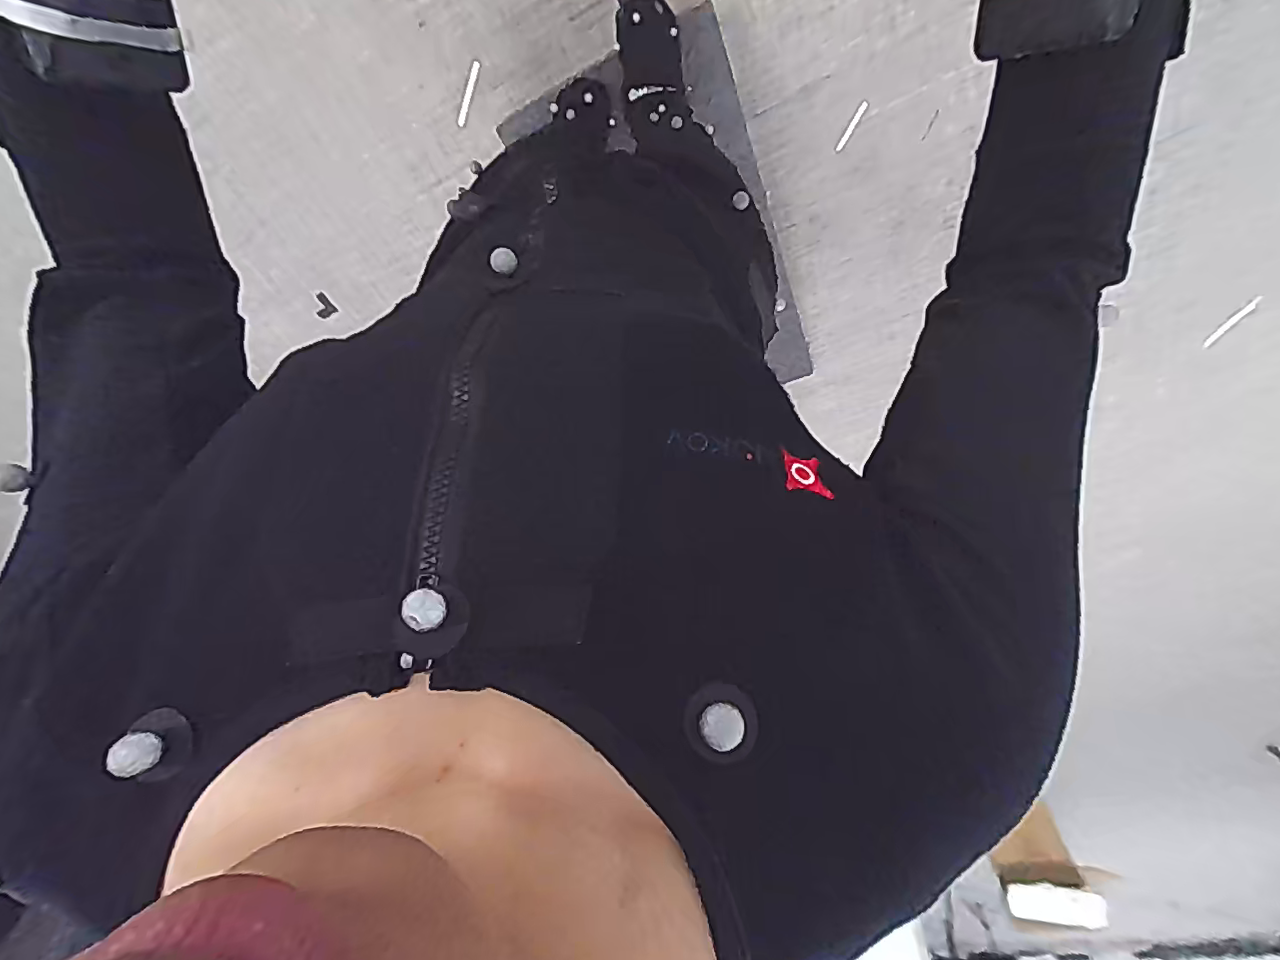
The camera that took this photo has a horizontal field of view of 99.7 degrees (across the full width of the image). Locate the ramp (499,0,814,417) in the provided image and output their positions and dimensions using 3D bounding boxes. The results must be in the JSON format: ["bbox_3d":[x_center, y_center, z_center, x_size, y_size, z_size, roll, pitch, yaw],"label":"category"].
[{"bbox_3d":[0.127,-0.564,1.433,0.509,0.206,0.991,-21,128,18],"label":"ramp"}]
